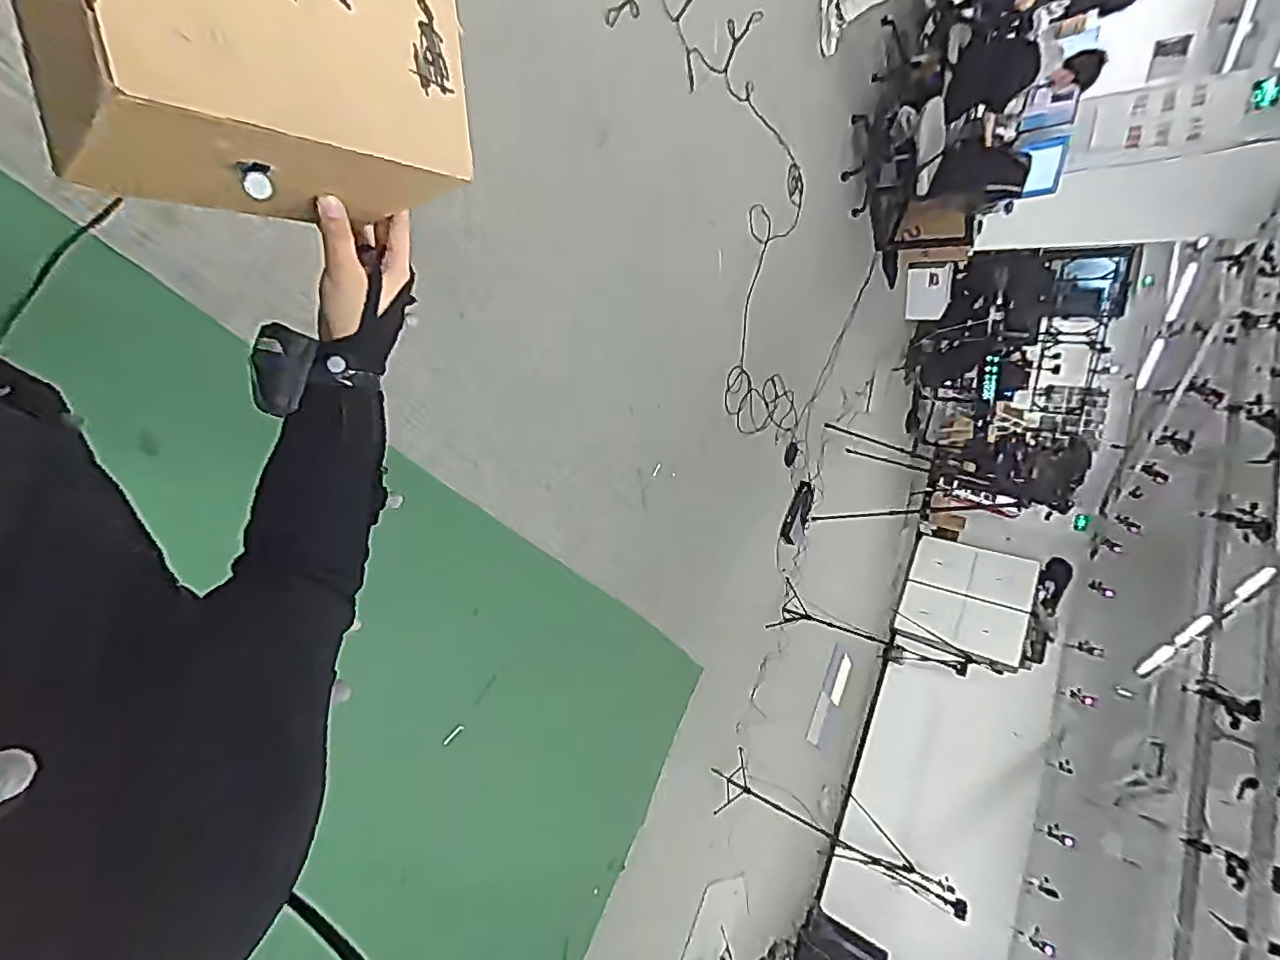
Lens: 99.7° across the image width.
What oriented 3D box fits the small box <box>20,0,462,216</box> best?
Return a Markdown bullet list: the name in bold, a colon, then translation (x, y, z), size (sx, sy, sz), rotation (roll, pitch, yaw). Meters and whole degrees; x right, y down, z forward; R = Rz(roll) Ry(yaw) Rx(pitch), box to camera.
- **small box**: translation (-0.234, -0.267, 0.316), size (0.179, 0.176, 0.168), rotation (-17, 110, -48)
